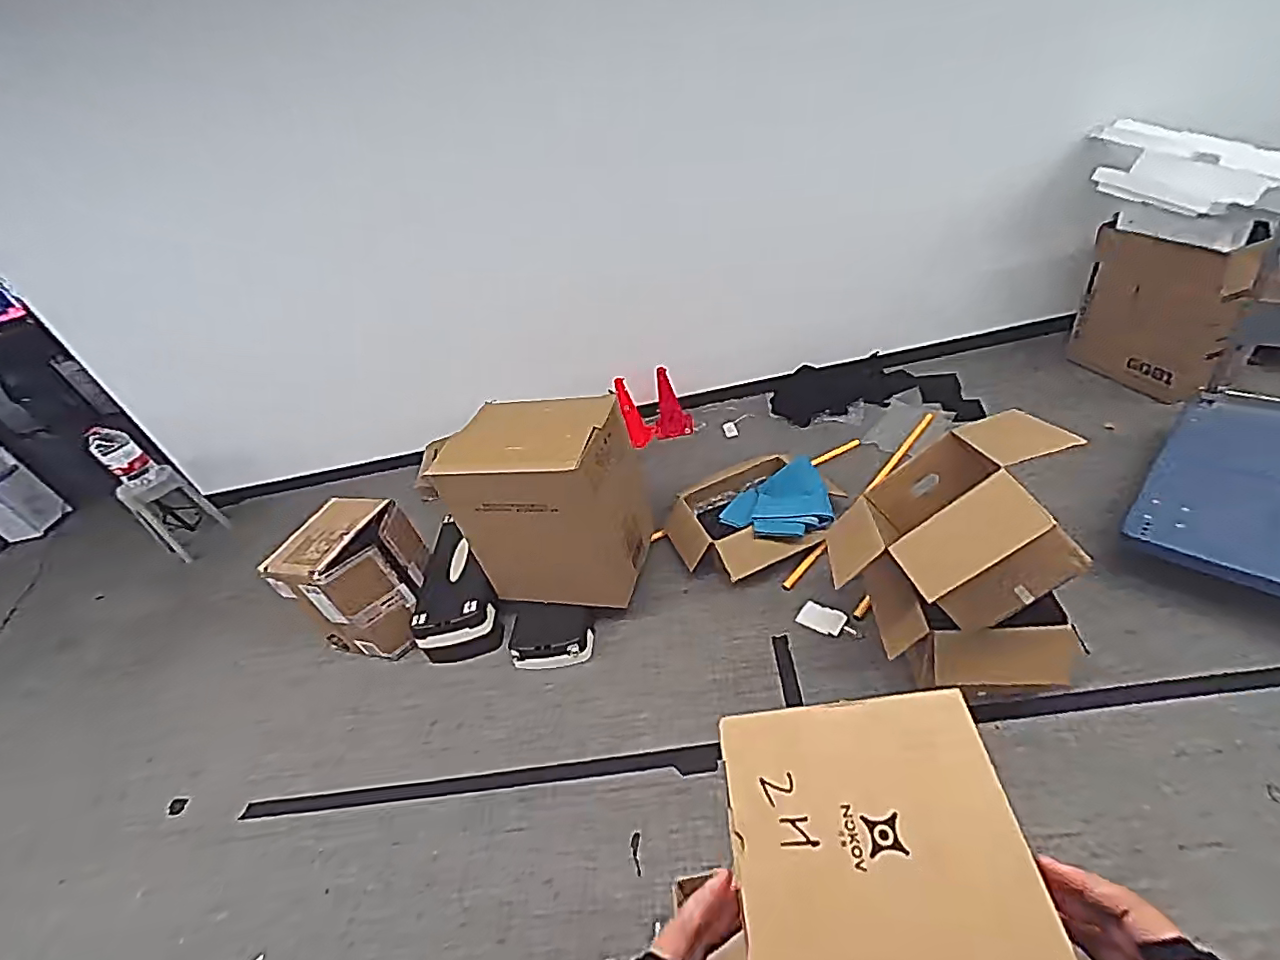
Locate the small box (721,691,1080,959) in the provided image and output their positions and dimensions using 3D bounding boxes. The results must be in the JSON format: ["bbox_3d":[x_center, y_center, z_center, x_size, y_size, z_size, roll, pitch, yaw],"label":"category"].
[{"bbox_3d":[0.165,0.274,0.395,0.179,0.176,0.168,-11,45,10],"label":"small box"}]
